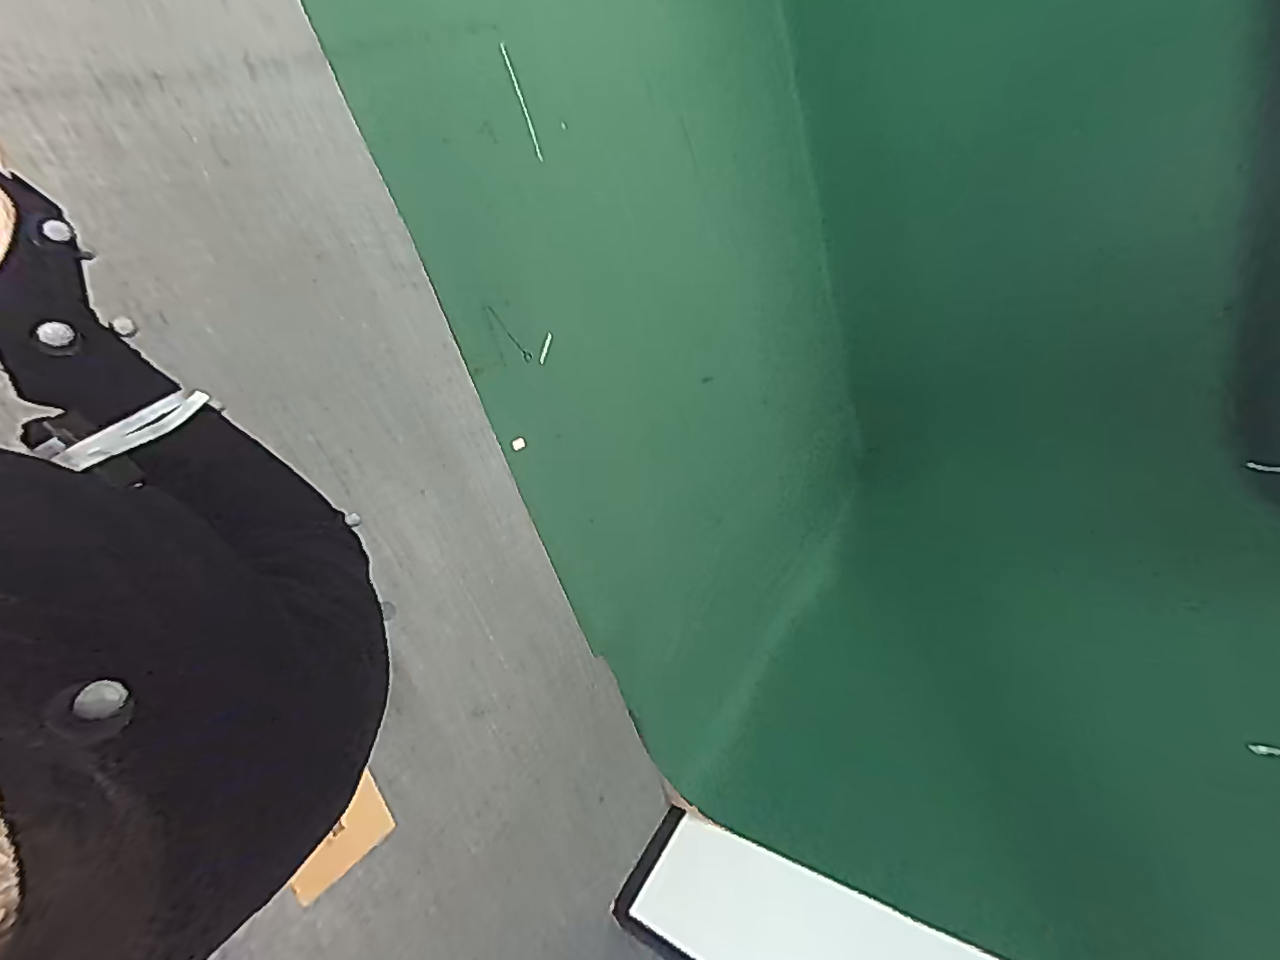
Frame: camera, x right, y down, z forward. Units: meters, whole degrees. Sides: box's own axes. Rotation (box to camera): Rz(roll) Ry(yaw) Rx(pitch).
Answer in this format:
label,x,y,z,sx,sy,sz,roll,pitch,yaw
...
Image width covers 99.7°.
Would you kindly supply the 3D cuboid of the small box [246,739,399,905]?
label,x,y,z,sx,sy,sz,roll,pitch,yaw
small box,-0.601,0.632,1.027,0.179,0.176,0.168,-31,112,-44
